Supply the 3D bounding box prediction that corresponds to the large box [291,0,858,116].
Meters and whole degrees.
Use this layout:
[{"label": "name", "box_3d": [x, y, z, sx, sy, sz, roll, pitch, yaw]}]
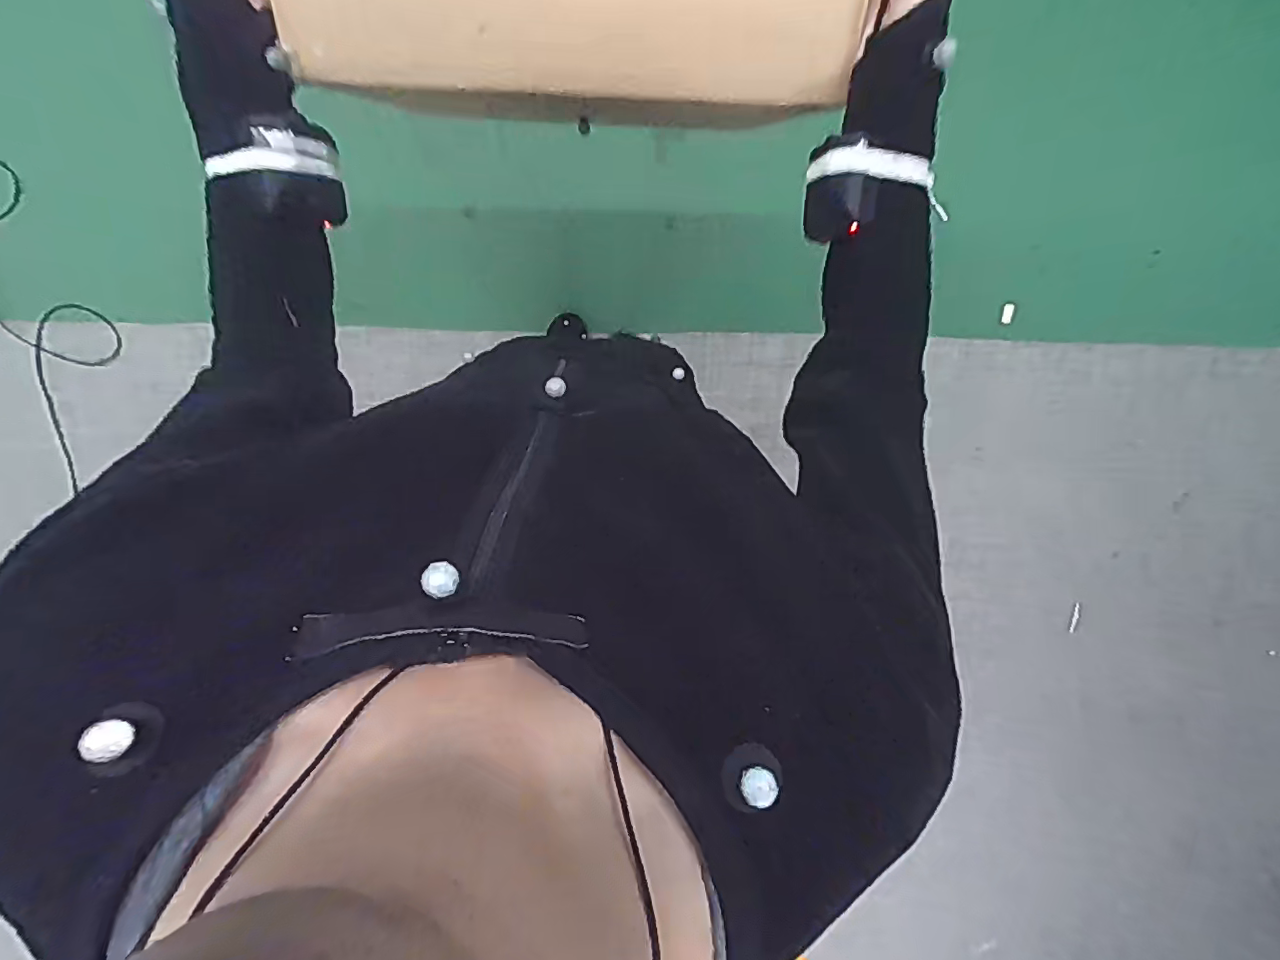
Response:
[{"label": "large box", "box_3d": [-0.047, -0.499, 0.453, 0.408, 0.320, 0.320, -1, 120, -4]}]
